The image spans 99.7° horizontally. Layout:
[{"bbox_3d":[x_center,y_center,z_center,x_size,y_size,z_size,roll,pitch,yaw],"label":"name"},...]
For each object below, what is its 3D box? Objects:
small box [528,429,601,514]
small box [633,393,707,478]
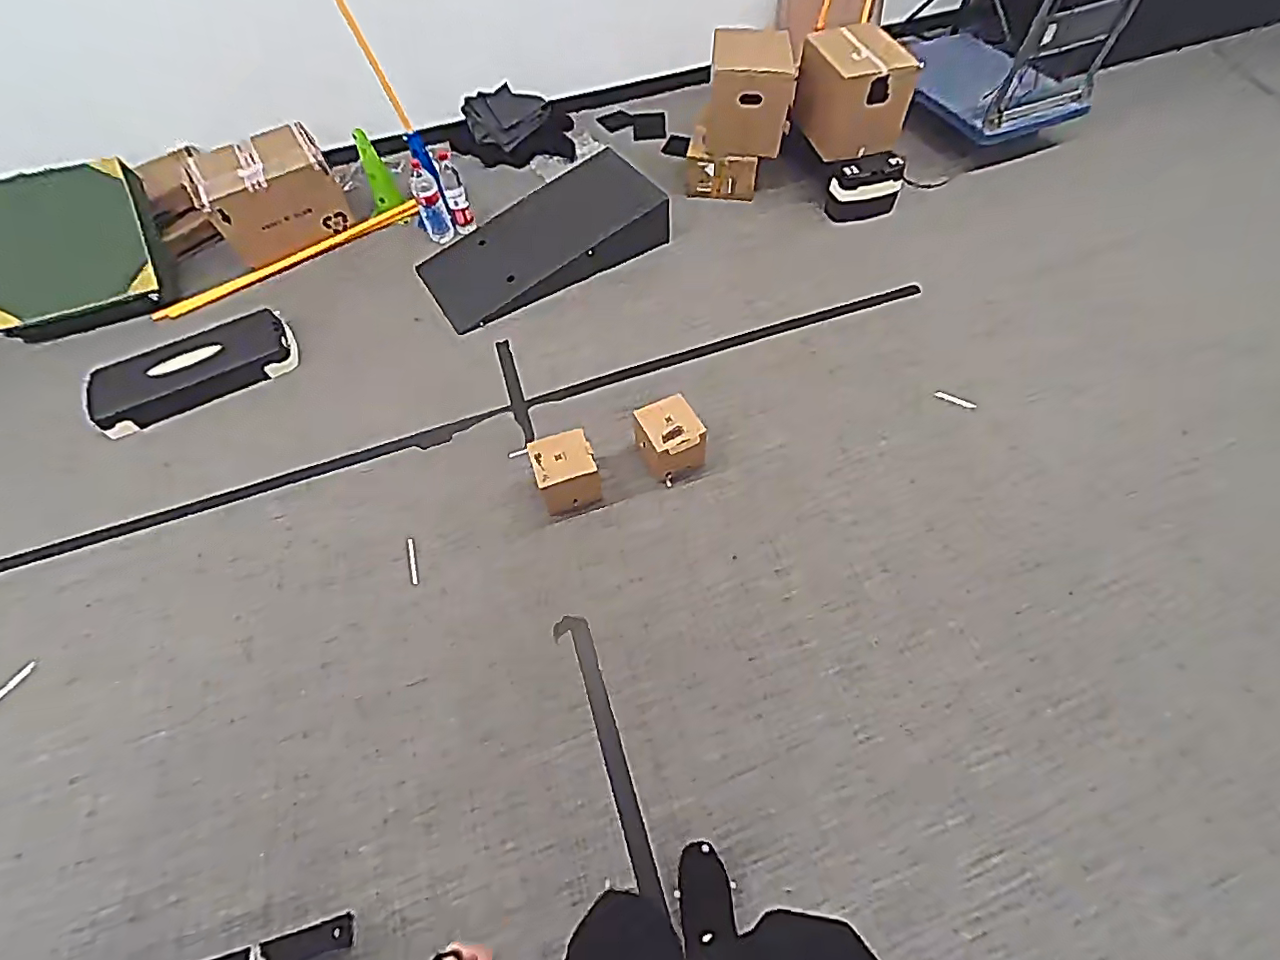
[{"bbox_3d":[-0.221,-0.022,1.619,0.179,0.176,0.168,-17,59,-8],"label":"small box"},{"bbox_3d":[0.093,-0.129,1.669,0.168,0.176,0.179,-24,60,-11],"label":"small box"}]
